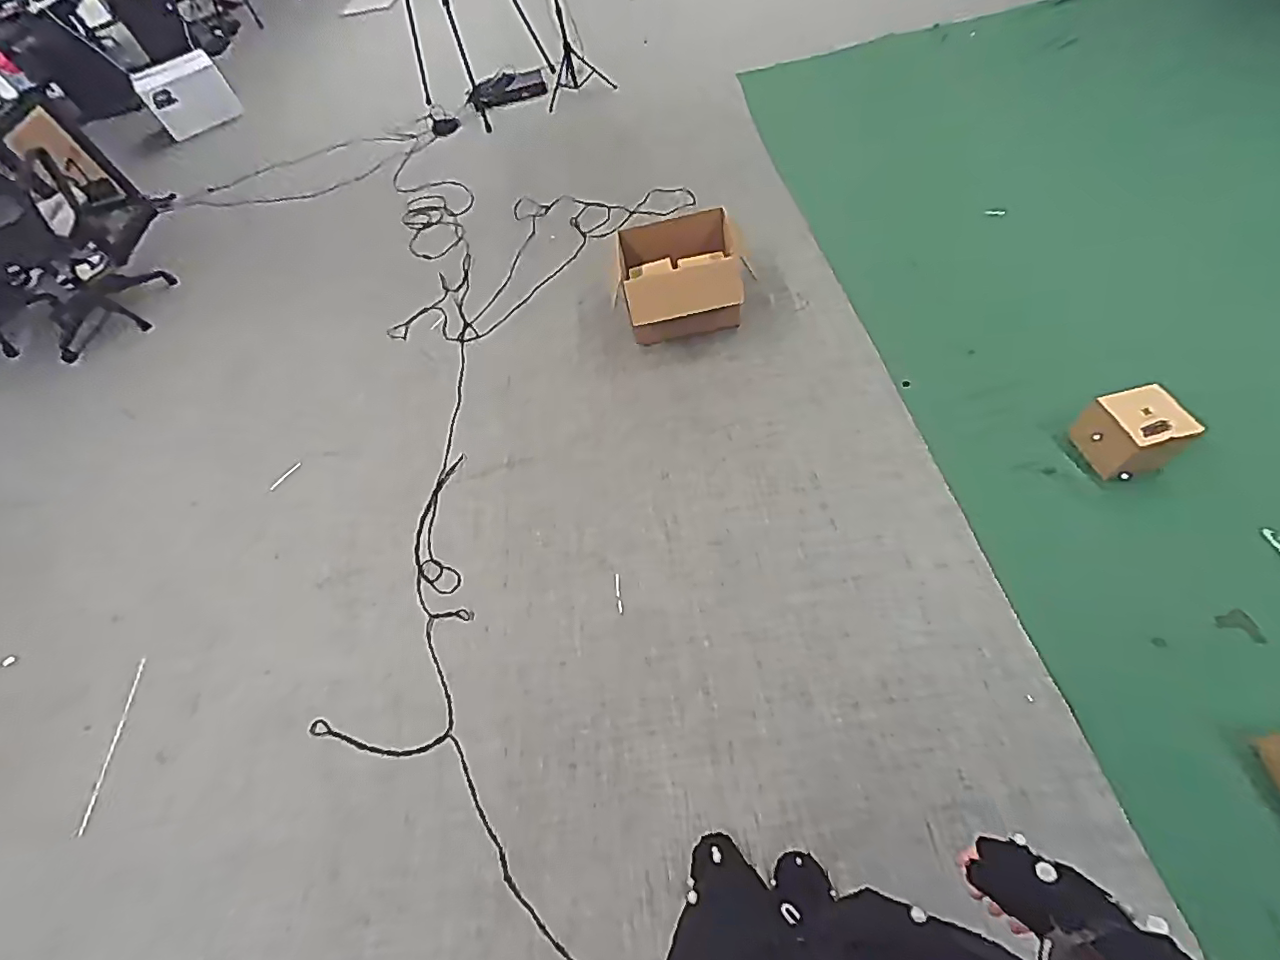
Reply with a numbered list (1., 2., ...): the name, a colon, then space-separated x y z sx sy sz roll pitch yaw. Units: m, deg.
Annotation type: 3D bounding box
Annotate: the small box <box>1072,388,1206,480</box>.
1. small box: 1.337 -0.116 1.465 0.168 0.176 0.179 -13 54 2
